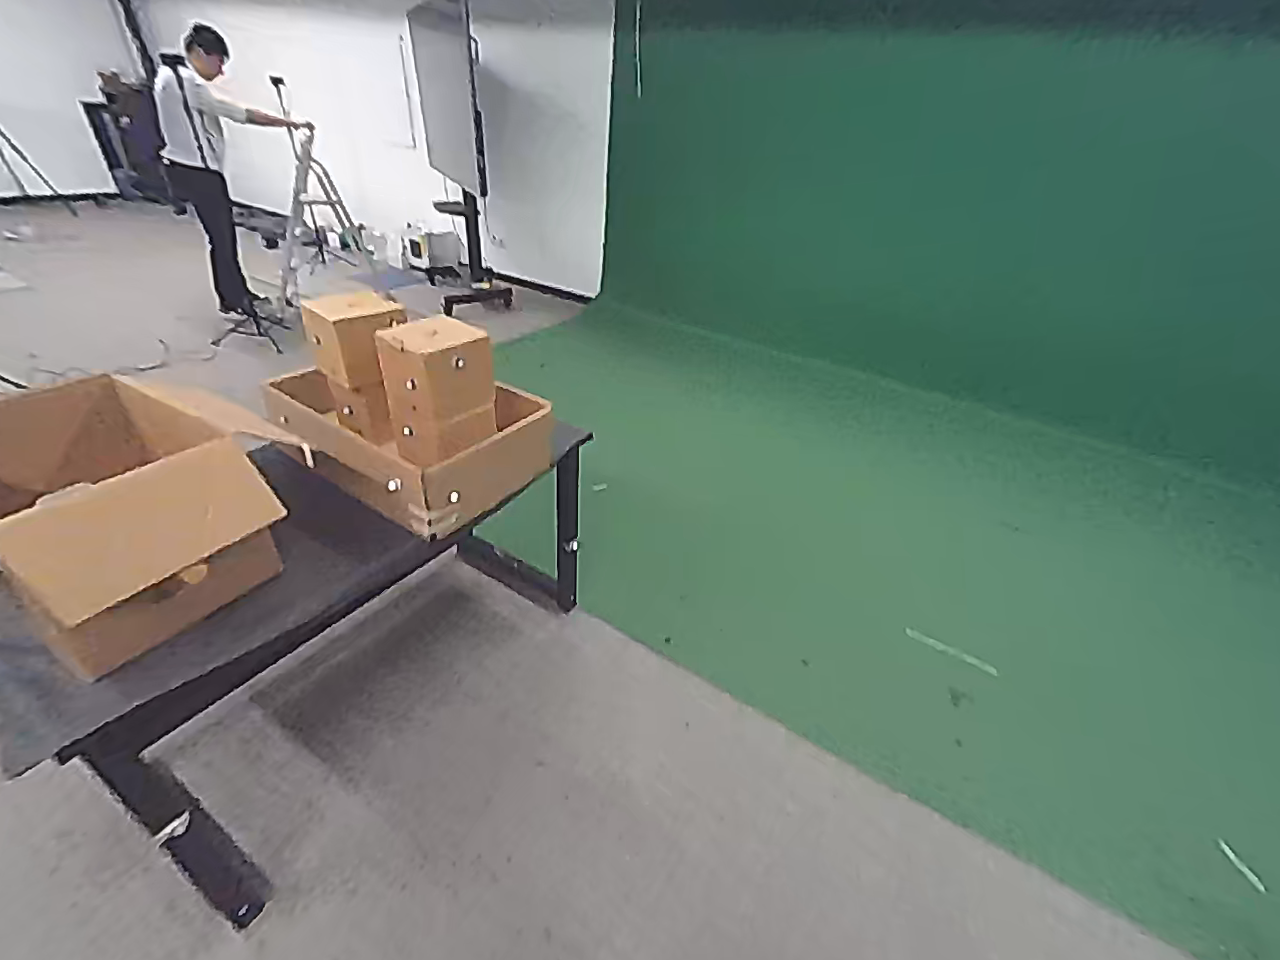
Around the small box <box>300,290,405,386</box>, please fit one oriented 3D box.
[{"bbox_3d":[-0.674,-0.343,1.303,0.168,0.176,0.179,30,40,29],"label":"small box"}]

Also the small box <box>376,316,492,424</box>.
[{"bbox_3d":[-0.446,-0.244,1.198,0.168,0.176,0.179,27,39,26],"label":"small box"}]
